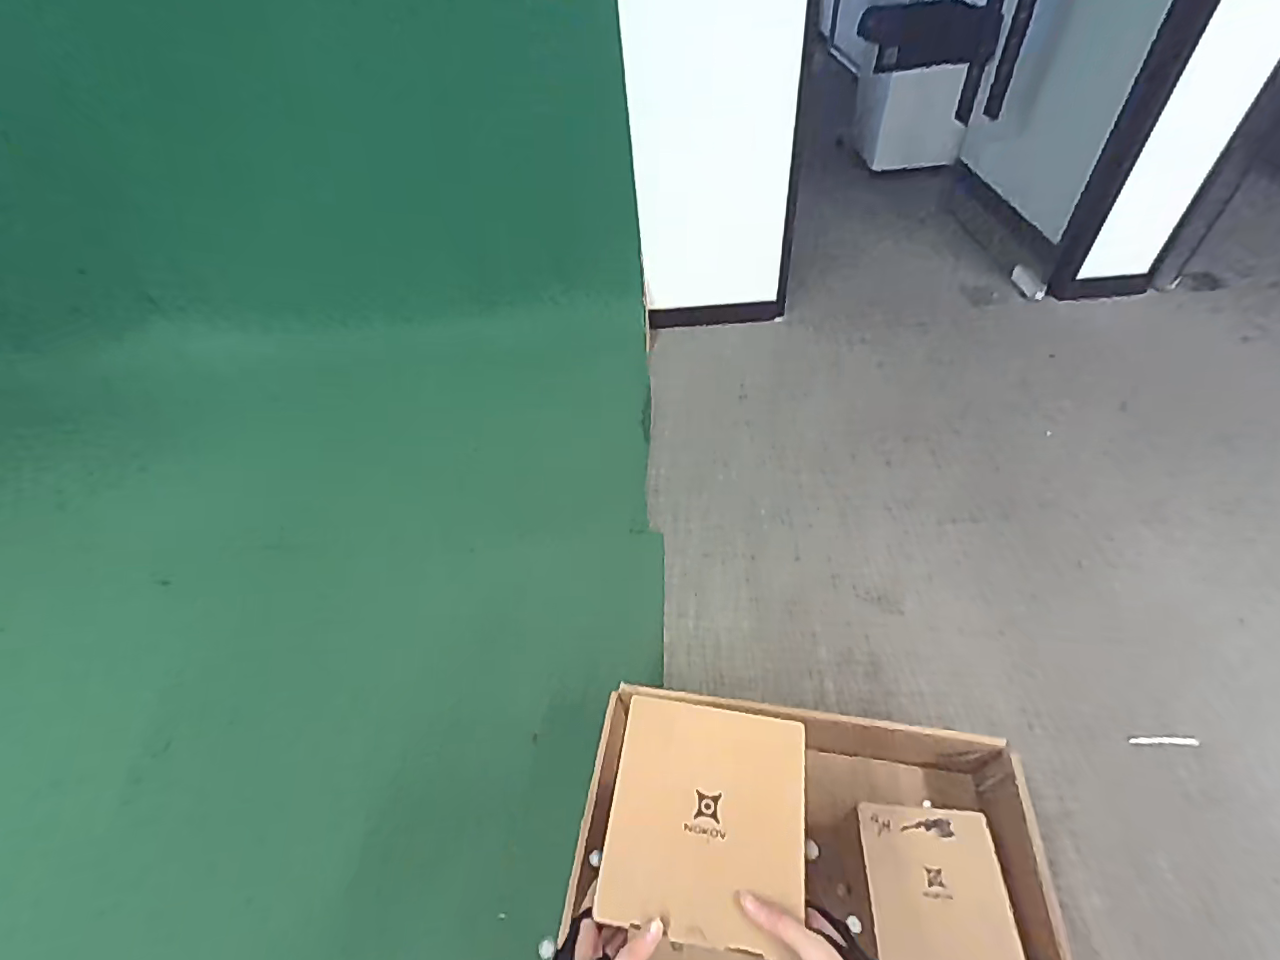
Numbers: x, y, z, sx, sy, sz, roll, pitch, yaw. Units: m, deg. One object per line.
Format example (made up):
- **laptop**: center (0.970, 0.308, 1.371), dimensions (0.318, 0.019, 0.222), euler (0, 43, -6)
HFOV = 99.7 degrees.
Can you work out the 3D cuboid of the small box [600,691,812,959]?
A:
- **small box**: center (0.066, 0.328, 0.522), dimensions (0.168, 0.176, 0.179), euler (6, 55, 9)
